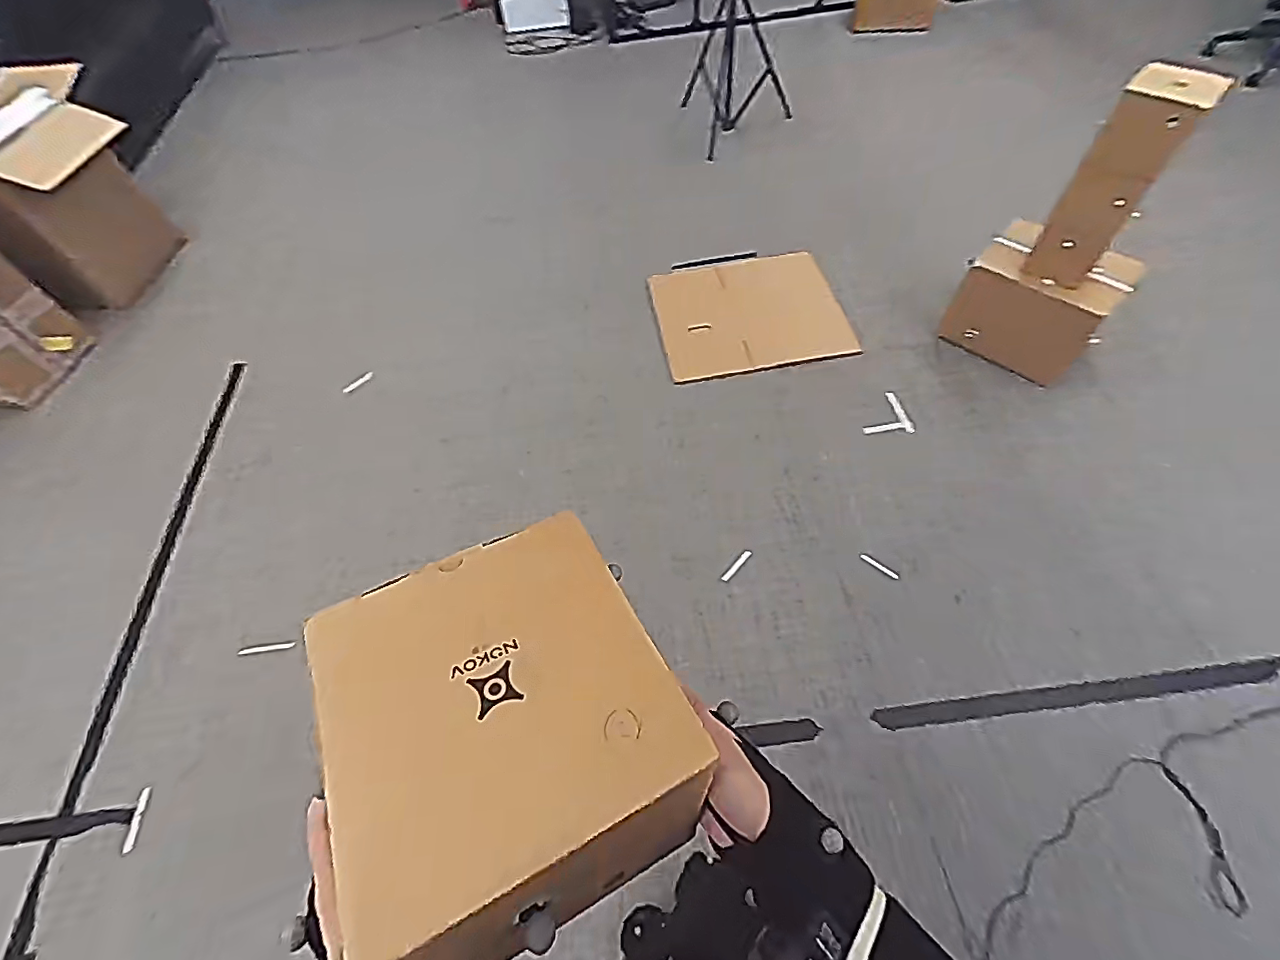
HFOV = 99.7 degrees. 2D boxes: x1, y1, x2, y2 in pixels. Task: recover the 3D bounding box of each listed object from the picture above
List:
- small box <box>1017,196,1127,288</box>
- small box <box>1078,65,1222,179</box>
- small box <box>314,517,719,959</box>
[{"bbox_3d":[1.280,-0.707,1.618,0.179,0.176,0.168,36,68,23],"label":"small box"},{"bbox_3d":[1.252,-0.880,1.339,0.179,0.176,0.168,37,67,24],"label":"small box"},{"bbox_3d":[-0.070,0.161,0.333,0.168,0.176,0.179,-22,48,-19],"label":"small box"}]
